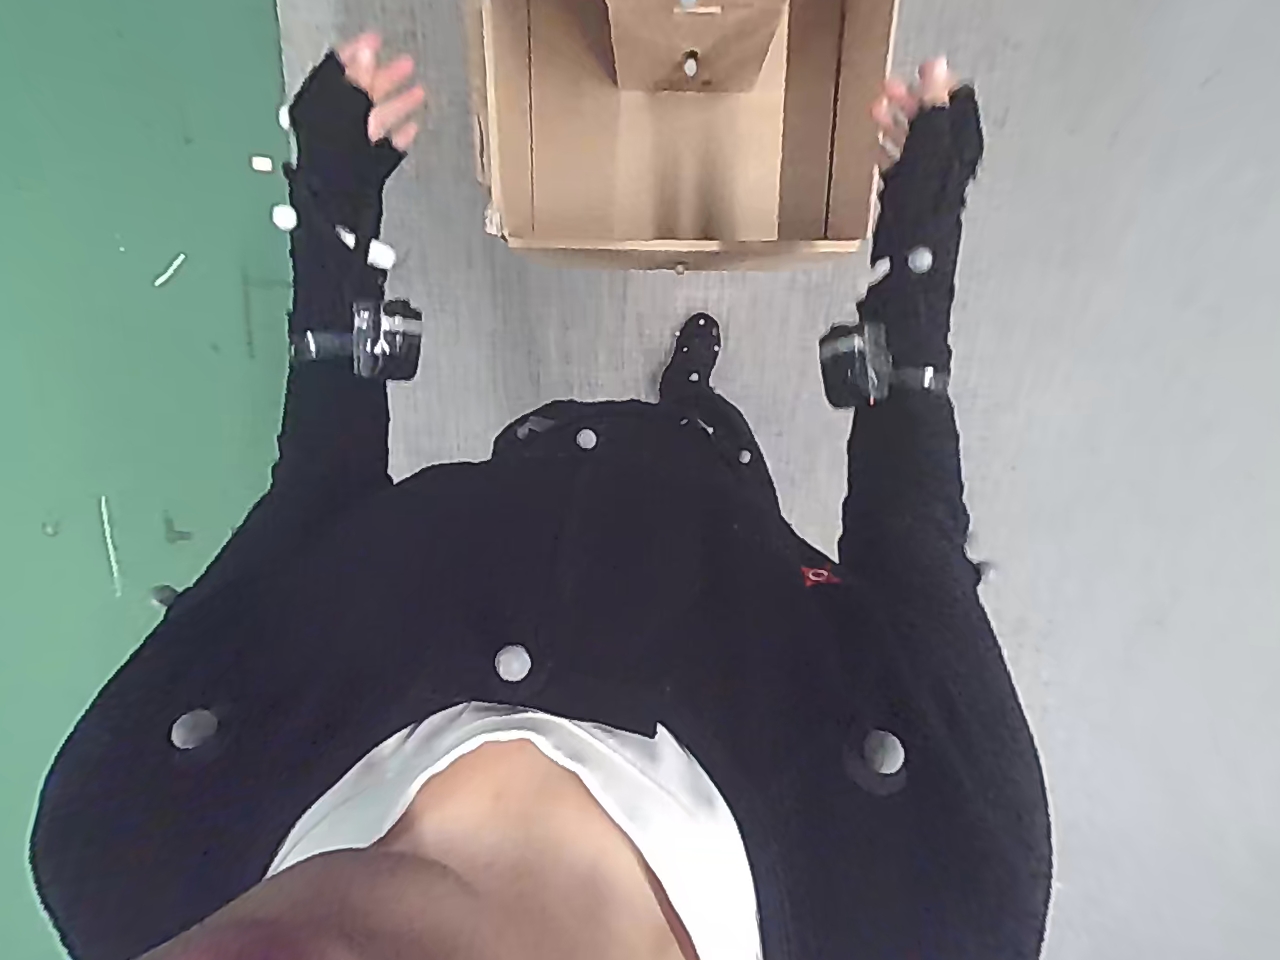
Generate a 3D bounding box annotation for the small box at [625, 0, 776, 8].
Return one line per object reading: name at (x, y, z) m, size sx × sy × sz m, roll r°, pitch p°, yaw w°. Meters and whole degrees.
small box at (0.051, -0.499, 0.395) m, size 0.168 × 0.176 × 0.179 m, roll -1°, pitch 104°, yaw 3°
